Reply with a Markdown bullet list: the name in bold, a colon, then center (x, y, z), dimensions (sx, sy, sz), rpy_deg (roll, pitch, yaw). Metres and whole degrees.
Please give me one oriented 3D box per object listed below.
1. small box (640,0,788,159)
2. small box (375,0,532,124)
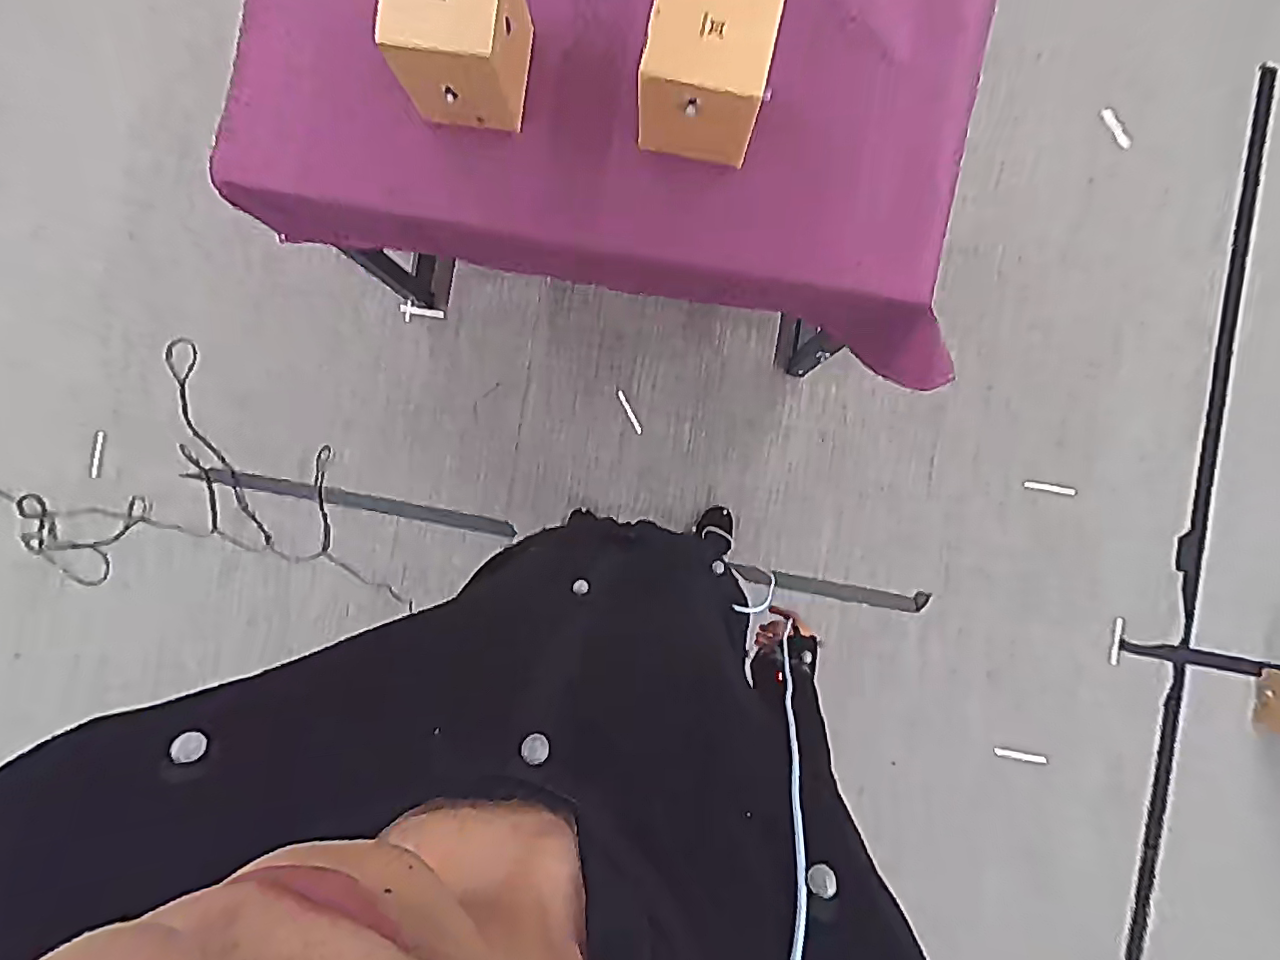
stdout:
- **small box**: center (0.103, -0.615, 0.807), dimensions (0.179, 0.176, 0.168), rpy_deg (13, 91, 2)
- **small box**: center (-0.267, -0.676, 0.810), dimensions (0.168, 0.176, 0.179), rpy_deg (8, 90, 0)
